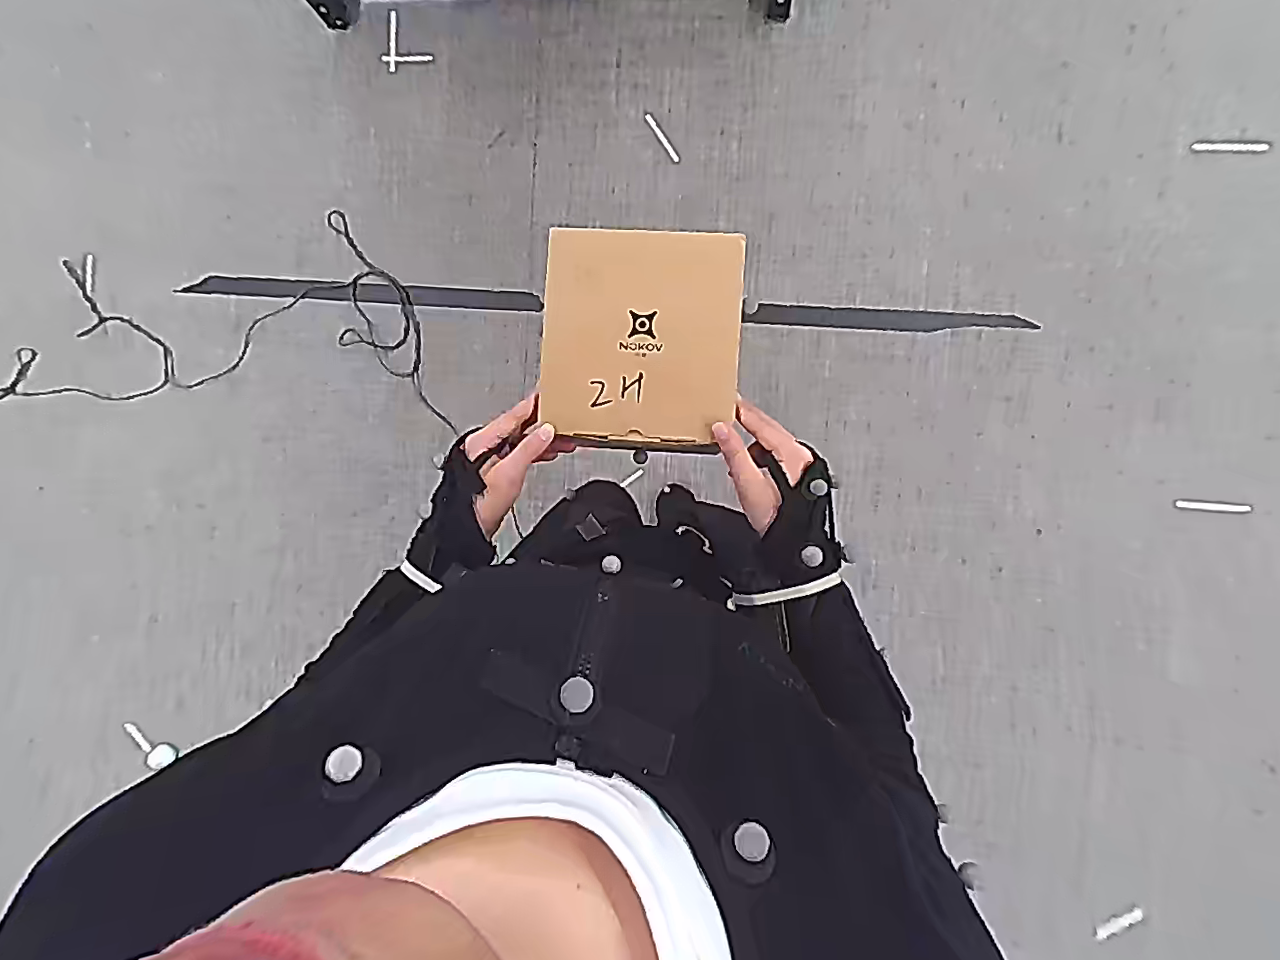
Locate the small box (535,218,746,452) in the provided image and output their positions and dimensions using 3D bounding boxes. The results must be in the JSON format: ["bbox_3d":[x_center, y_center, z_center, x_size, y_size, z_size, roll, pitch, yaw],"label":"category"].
[{"bbox_3d":[0.004,-0.125,0.526,0.168,0.176,0.179,4,89,4],"label":"small box"}]

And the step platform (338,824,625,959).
[{"bbox_3d":[-0.387,1.094,1.349,0.684,0.204,0.286,4,93,5],"label":"step platform"}]
